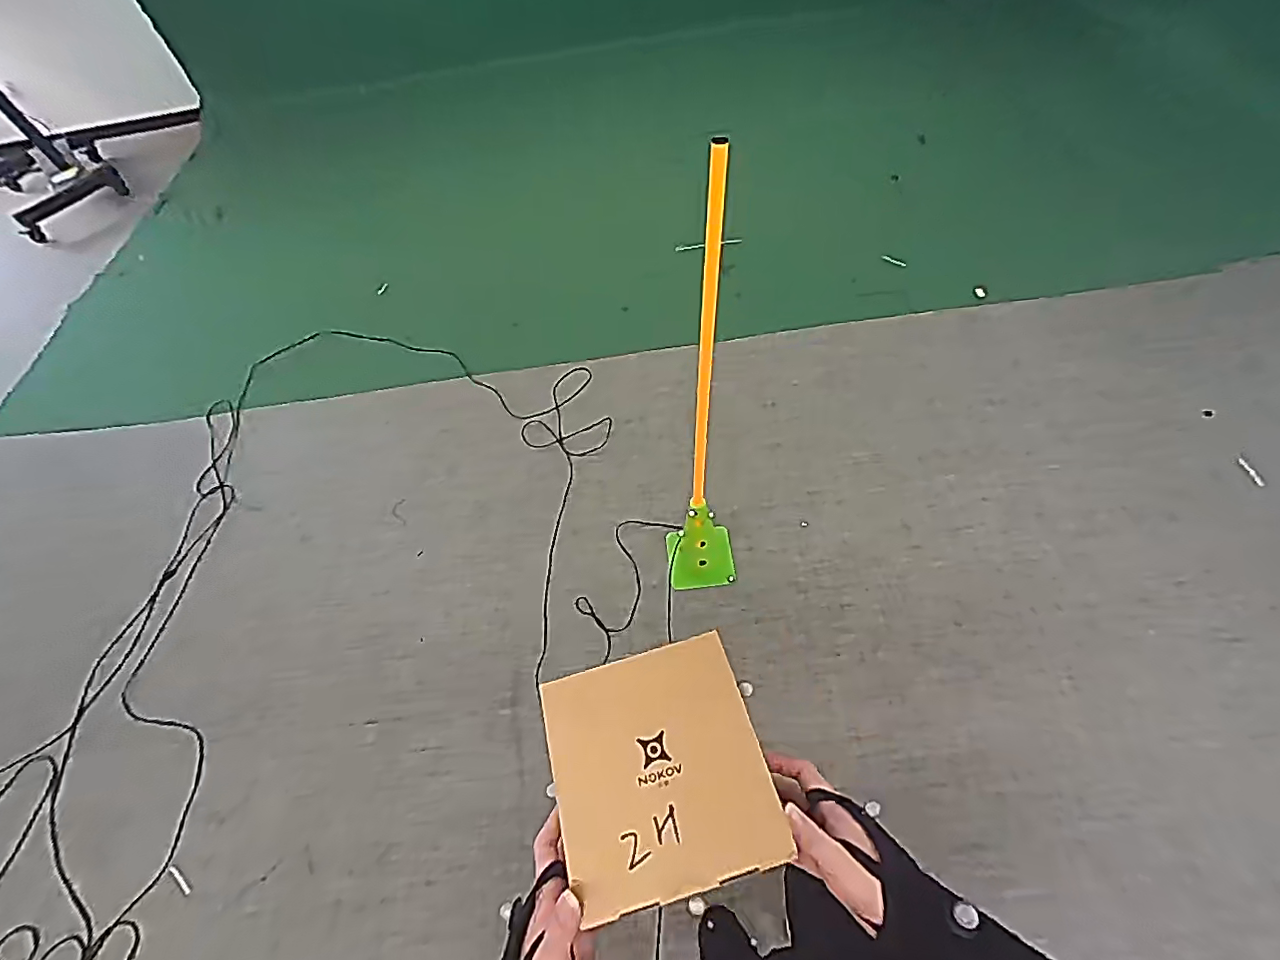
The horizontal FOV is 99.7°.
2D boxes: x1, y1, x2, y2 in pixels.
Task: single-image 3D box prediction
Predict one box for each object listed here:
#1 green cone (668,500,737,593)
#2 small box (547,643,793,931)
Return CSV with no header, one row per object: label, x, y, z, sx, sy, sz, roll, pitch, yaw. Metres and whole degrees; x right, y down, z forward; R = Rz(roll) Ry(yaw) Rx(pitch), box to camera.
green cone,0.173,0.161,1.563,0.202,0.368,0.200,-8,56,4
small box,0.022,0.280,0.498,0.168,0.176,0.179,-15,54,-3
